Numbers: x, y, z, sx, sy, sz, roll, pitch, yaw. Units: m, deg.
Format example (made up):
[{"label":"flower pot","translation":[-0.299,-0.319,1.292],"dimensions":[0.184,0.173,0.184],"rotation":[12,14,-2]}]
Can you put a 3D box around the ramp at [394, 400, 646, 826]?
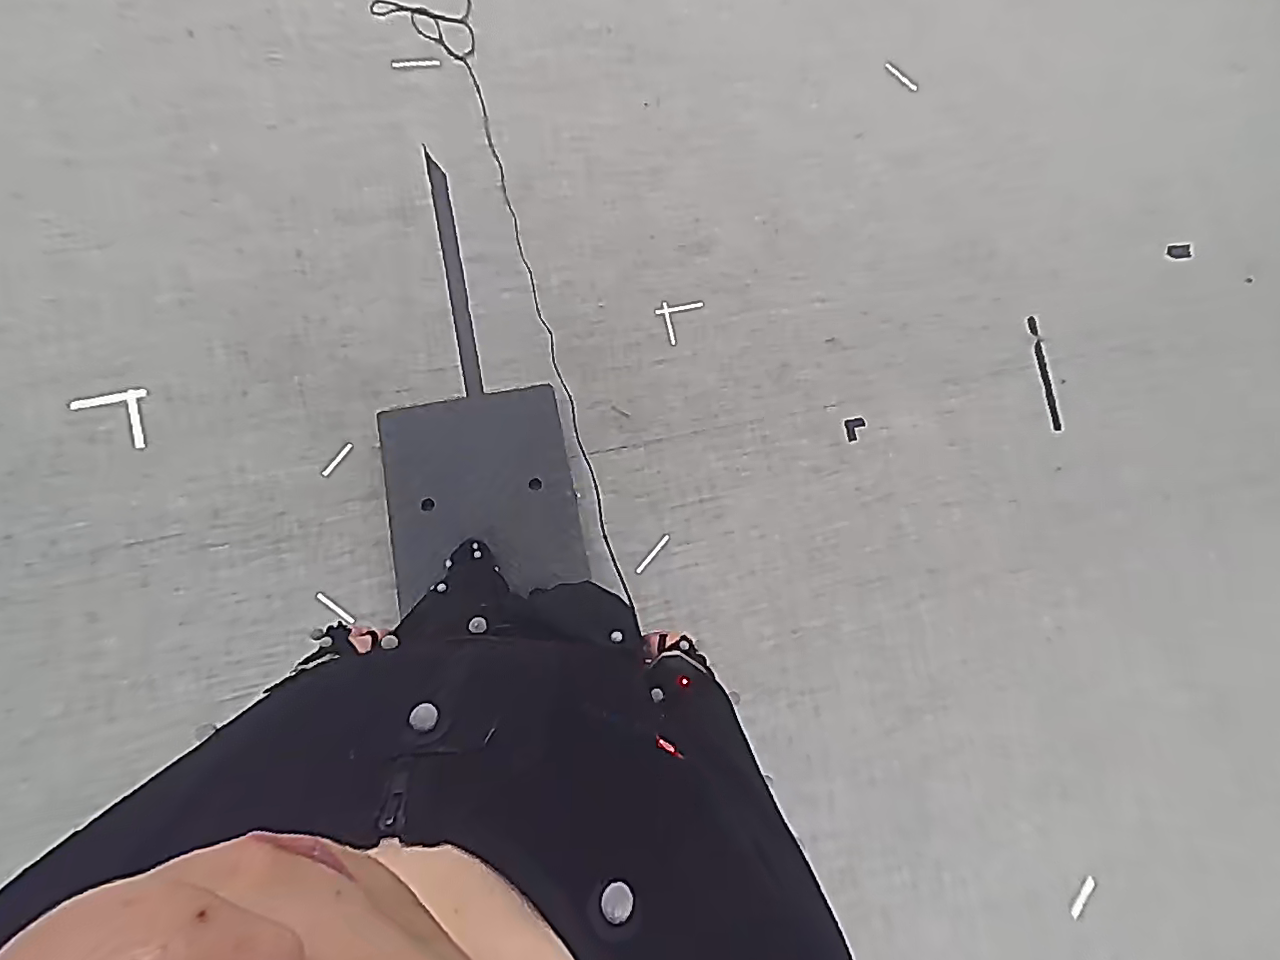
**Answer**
[{"label":"ramp","translation":[-0.339,0.277,1.404],"dimensions":[0.509,0.206,0.991],"rotation":[-14,83,-8]}]
